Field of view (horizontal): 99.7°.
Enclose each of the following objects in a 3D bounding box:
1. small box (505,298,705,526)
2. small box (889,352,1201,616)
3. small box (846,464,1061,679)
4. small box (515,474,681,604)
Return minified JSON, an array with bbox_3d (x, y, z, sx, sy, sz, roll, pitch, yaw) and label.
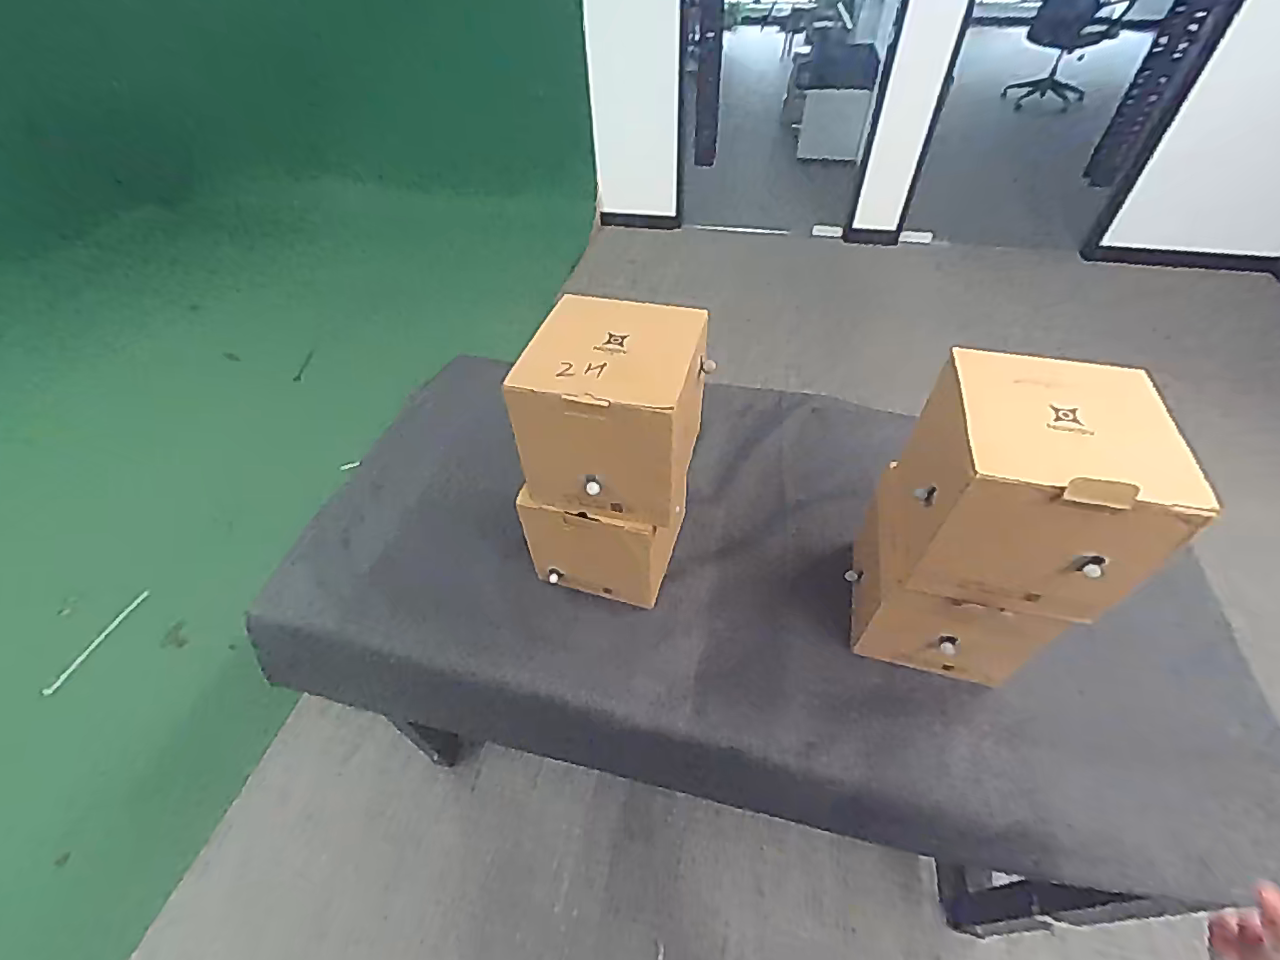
[{"bbox_3d":[-0.028,-0.077,0.605,0.168,0.176,0.179,10,48,11],"label":"small box"},{"bbox_3d":[0.352,0.005,0.518,0.168,0.176,0.179,11,48,11],"label":"small box"},{"bbox_3d":[0.351,0.110,0.642,0.168,0.176,0.179,11,49,12],"label":"small box"},{"bbox_3d":[-0.041,0.038,0.723,0.168,0.176,0.179,12,48,13],"label":"small box"}]
